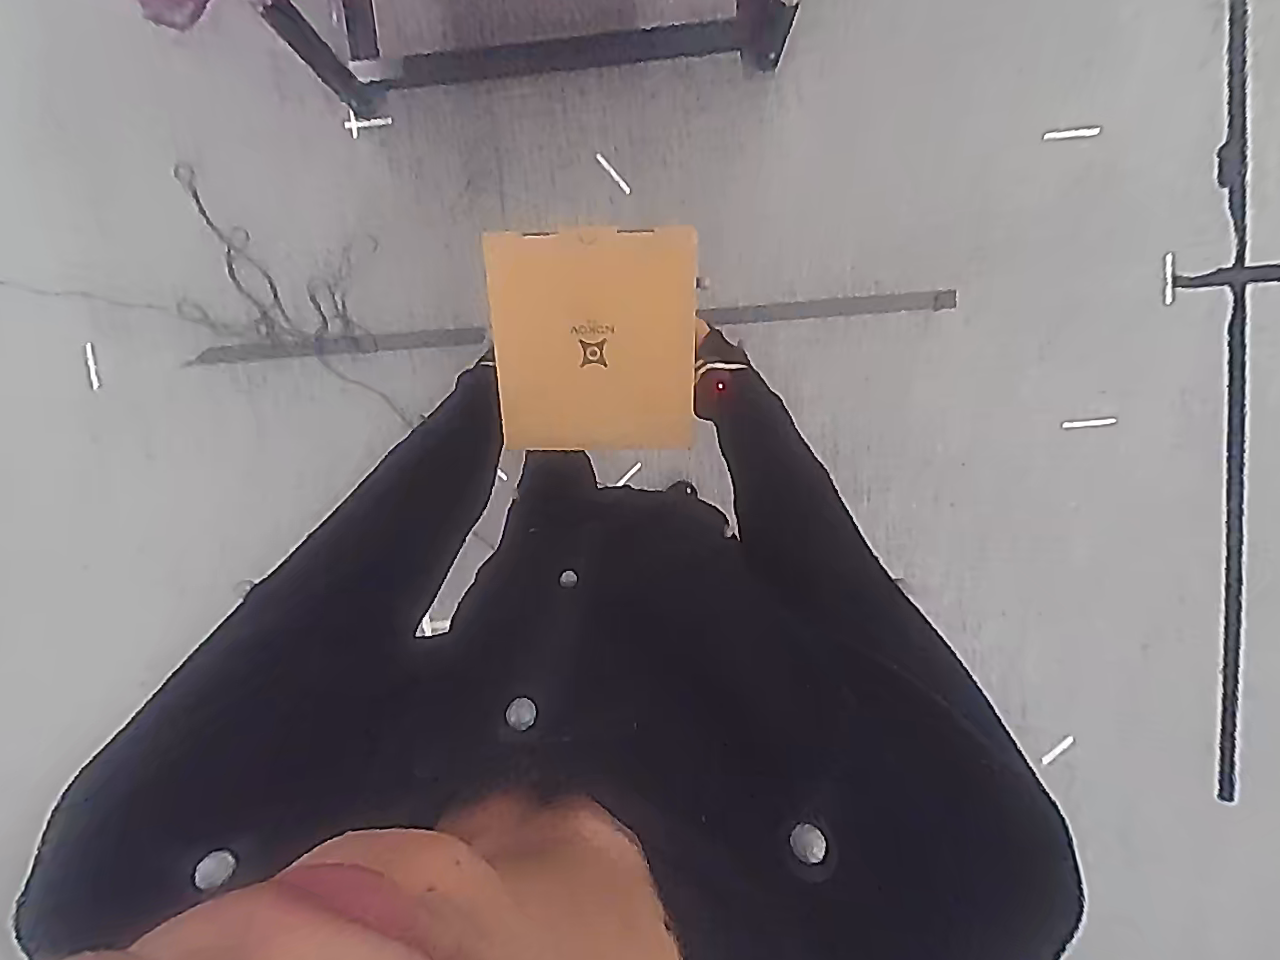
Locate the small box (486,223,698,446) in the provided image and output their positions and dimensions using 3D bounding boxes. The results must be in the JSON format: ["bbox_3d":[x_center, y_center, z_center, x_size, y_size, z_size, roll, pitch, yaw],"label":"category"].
[{"bbox_3d":[-0.031,-0.139,0.512,0.168,0.176,0.179,0,109,3],"label":"small box"}]
